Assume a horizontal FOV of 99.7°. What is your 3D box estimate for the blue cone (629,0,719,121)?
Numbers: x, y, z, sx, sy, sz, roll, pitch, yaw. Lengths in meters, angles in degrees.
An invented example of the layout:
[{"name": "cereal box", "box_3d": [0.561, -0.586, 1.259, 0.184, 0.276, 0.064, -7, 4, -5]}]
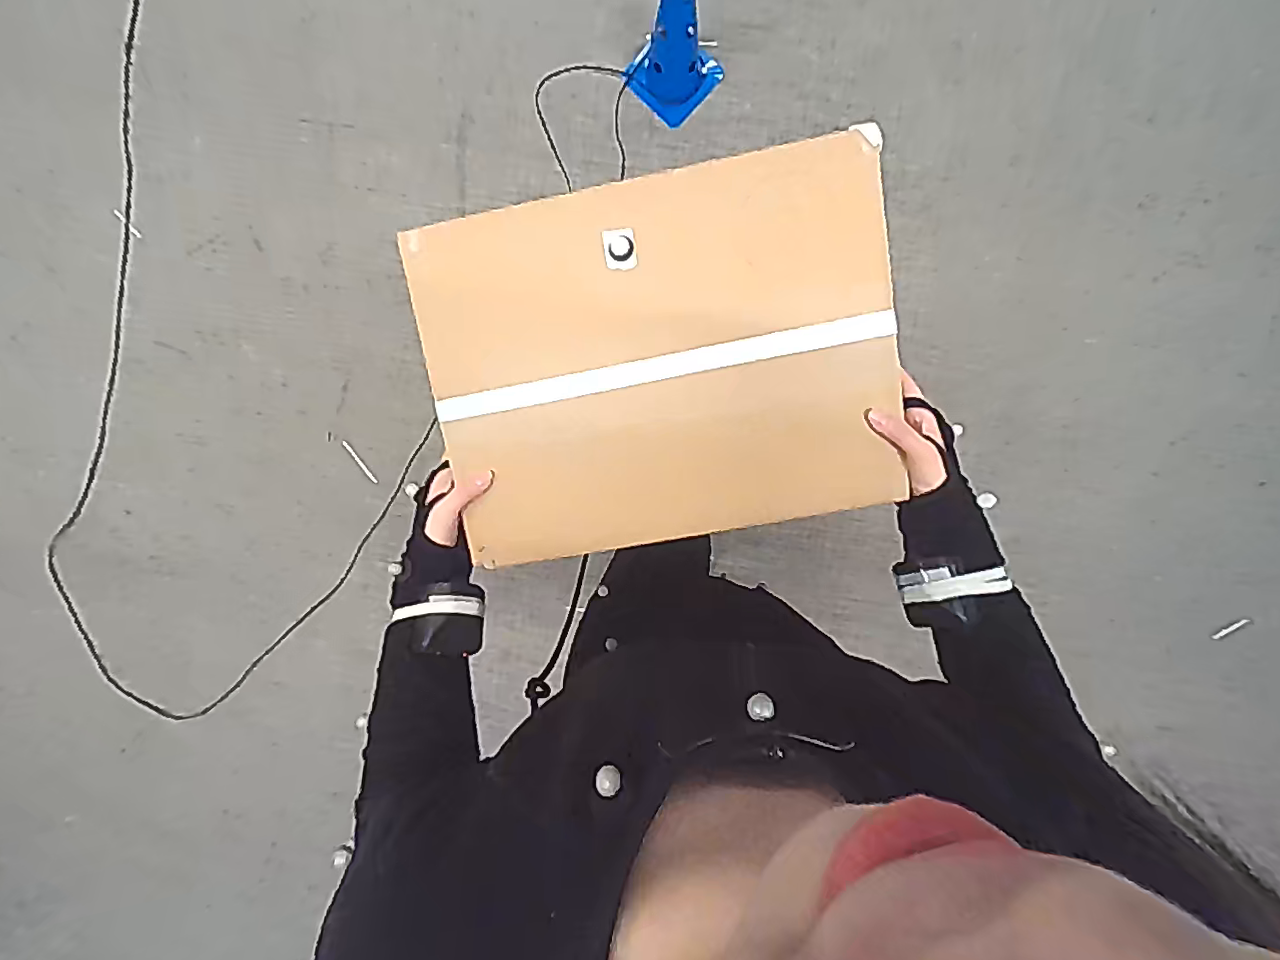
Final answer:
[{"name": "blue cone", "box_3d": [0.087, -1.037, 1.217, 0.192, 0.380, 0.193, 42, 92, -2]}]
